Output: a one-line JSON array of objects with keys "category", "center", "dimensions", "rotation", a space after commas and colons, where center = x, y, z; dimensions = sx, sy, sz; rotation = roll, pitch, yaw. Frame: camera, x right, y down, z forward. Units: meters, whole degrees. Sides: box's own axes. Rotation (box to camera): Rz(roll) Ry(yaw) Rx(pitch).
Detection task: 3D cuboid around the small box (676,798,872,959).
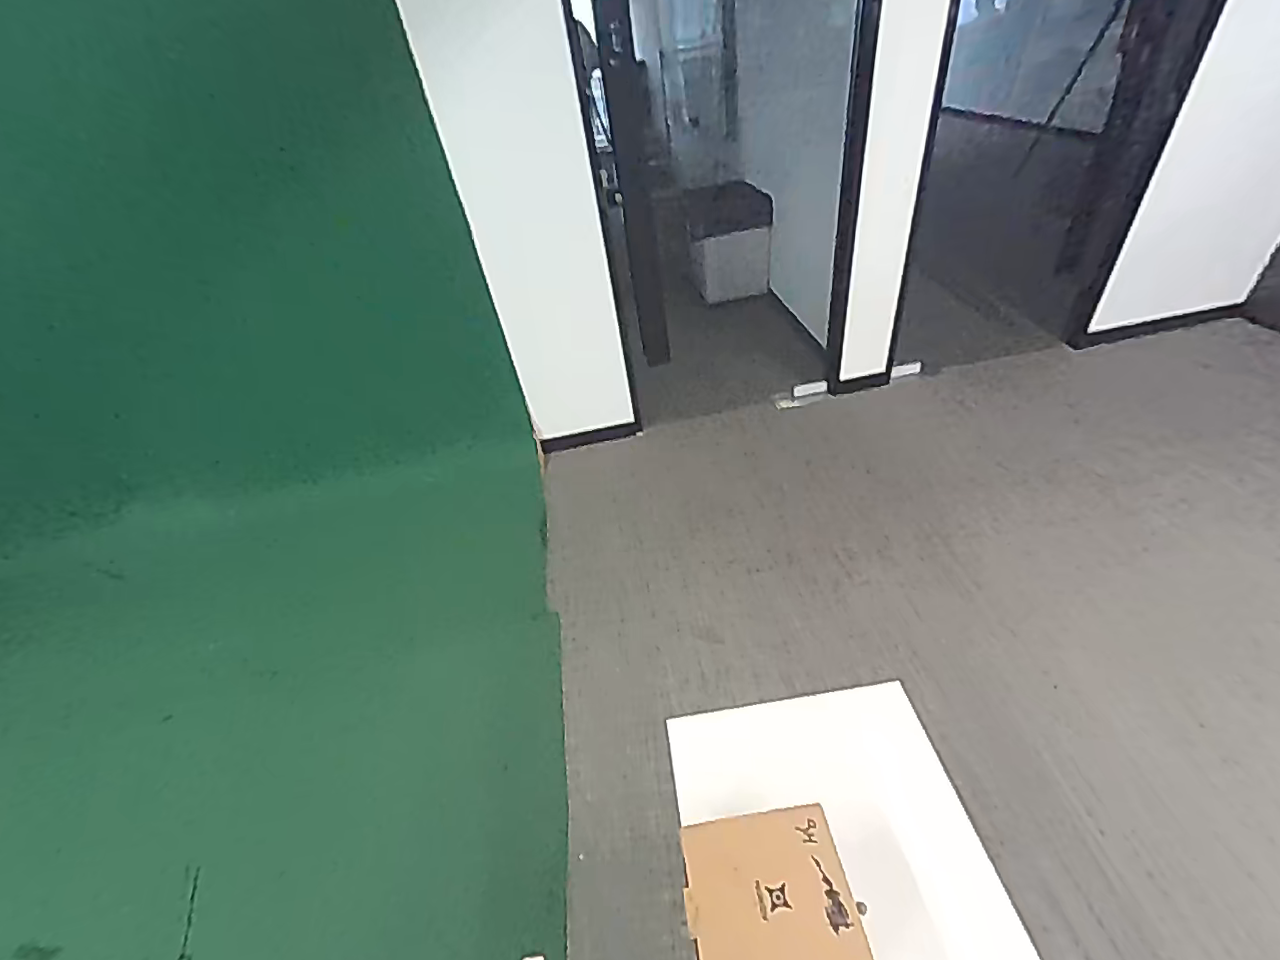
[{"category": "small box", "center": [0.148, 0.505, 0.635], "dimensions": [0.179, 0.176, 0.168], "rotation": [-10, 41, 0]}]
